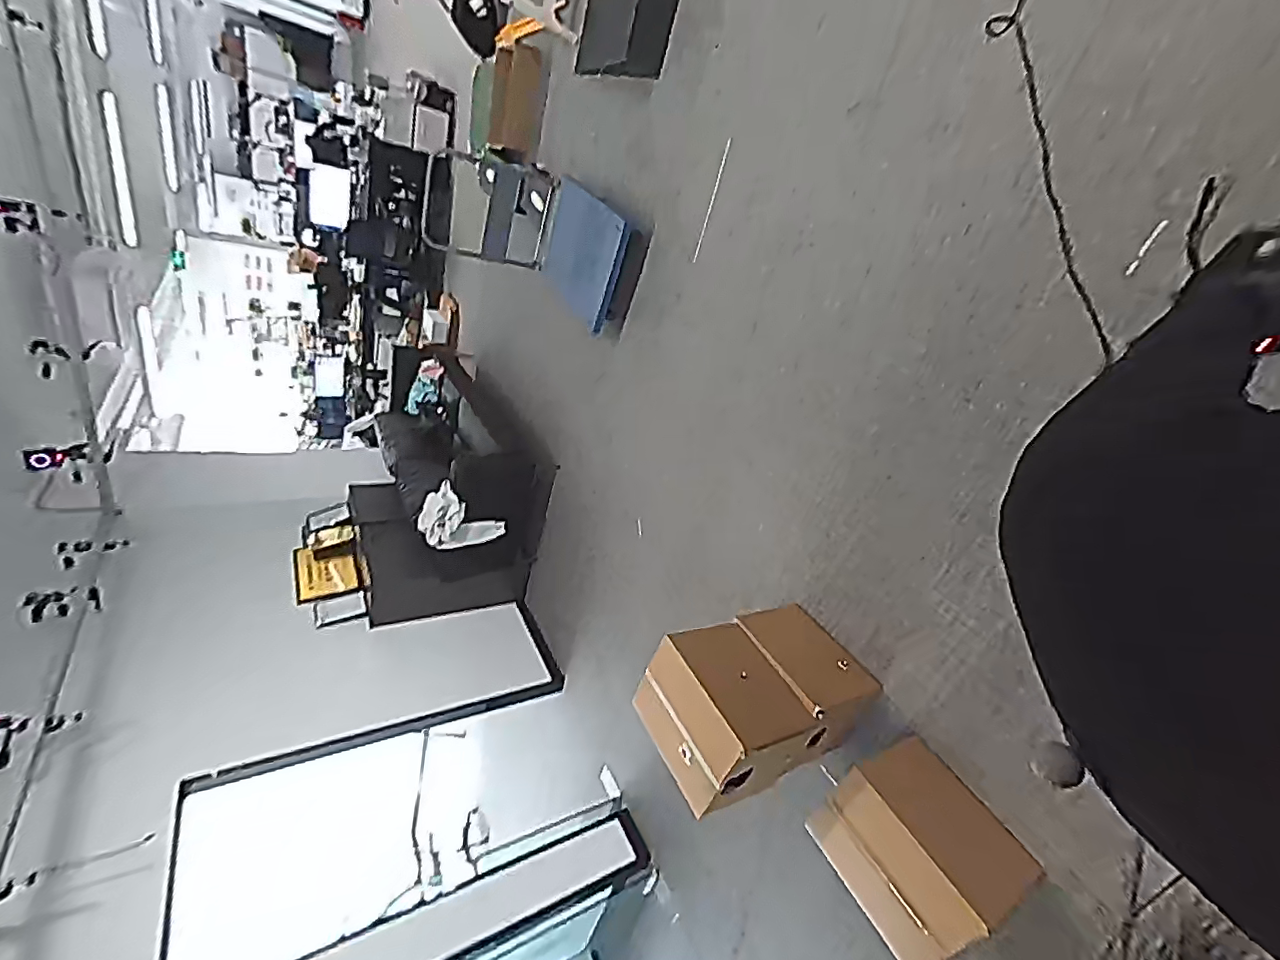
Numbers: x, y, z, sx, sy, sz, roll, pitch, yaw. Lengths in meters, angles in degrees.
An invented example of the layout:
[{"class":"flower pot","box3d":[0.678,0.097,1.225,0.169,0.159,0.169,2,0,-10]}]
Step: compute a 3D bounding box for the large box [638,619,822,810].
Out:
[{"class":"large box","box3d":[0.261,0.690,1.657,0.408,0.320,0.320,49,126,43]}]
